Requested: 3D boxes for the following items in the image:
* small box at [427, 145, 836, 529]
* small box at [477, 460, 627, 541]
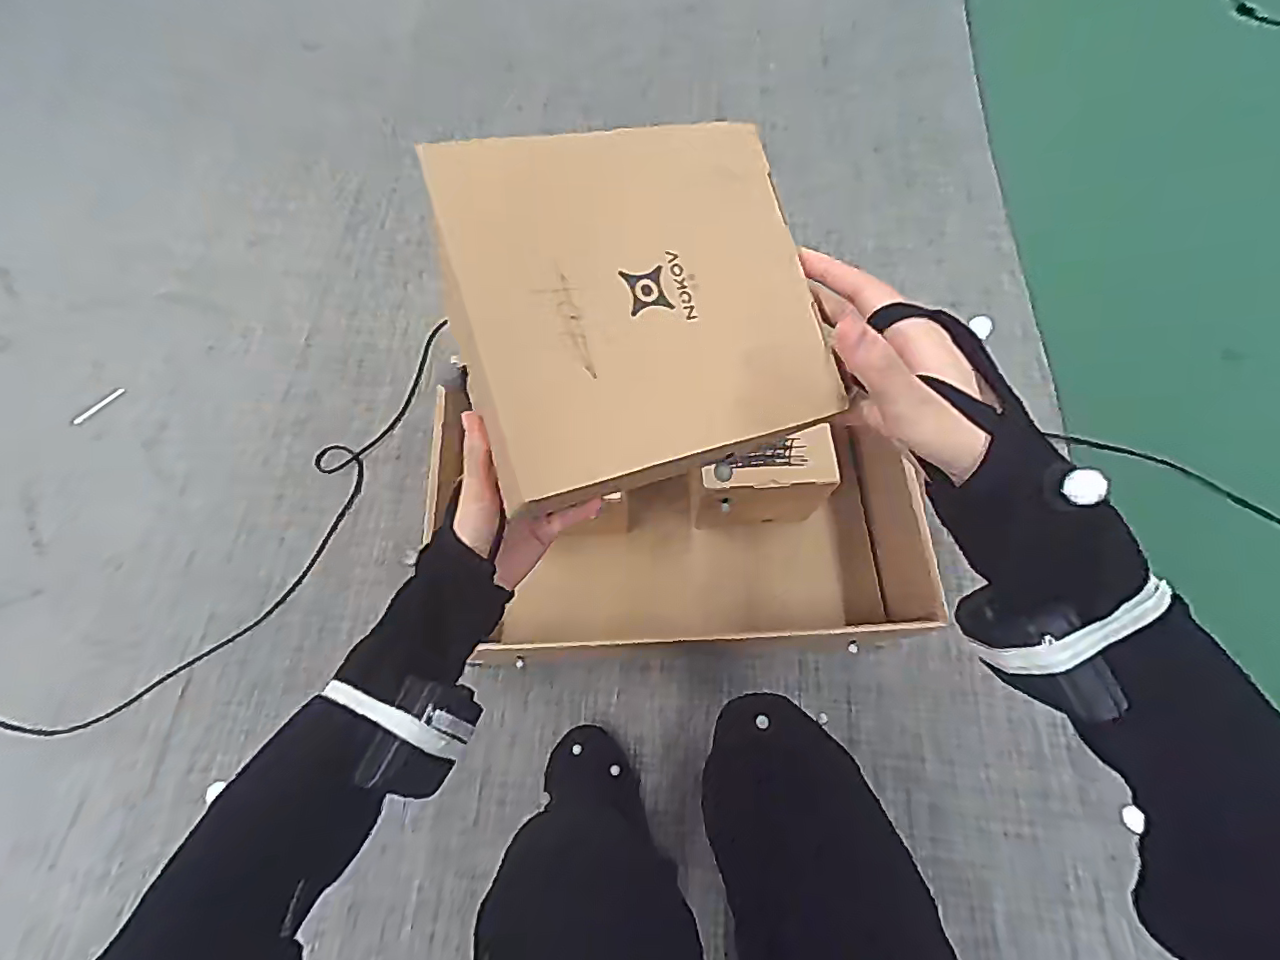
[{"bbox_3d":[-0.018,-0.072,0.339,0.179,0.176,0.168,-16,86,-17],"label":"small box"},{"bbox_3d":[-0.110,-0.015,0.751,0.179,0.176,0.168,-2,70,0],"label":"small box"}]
